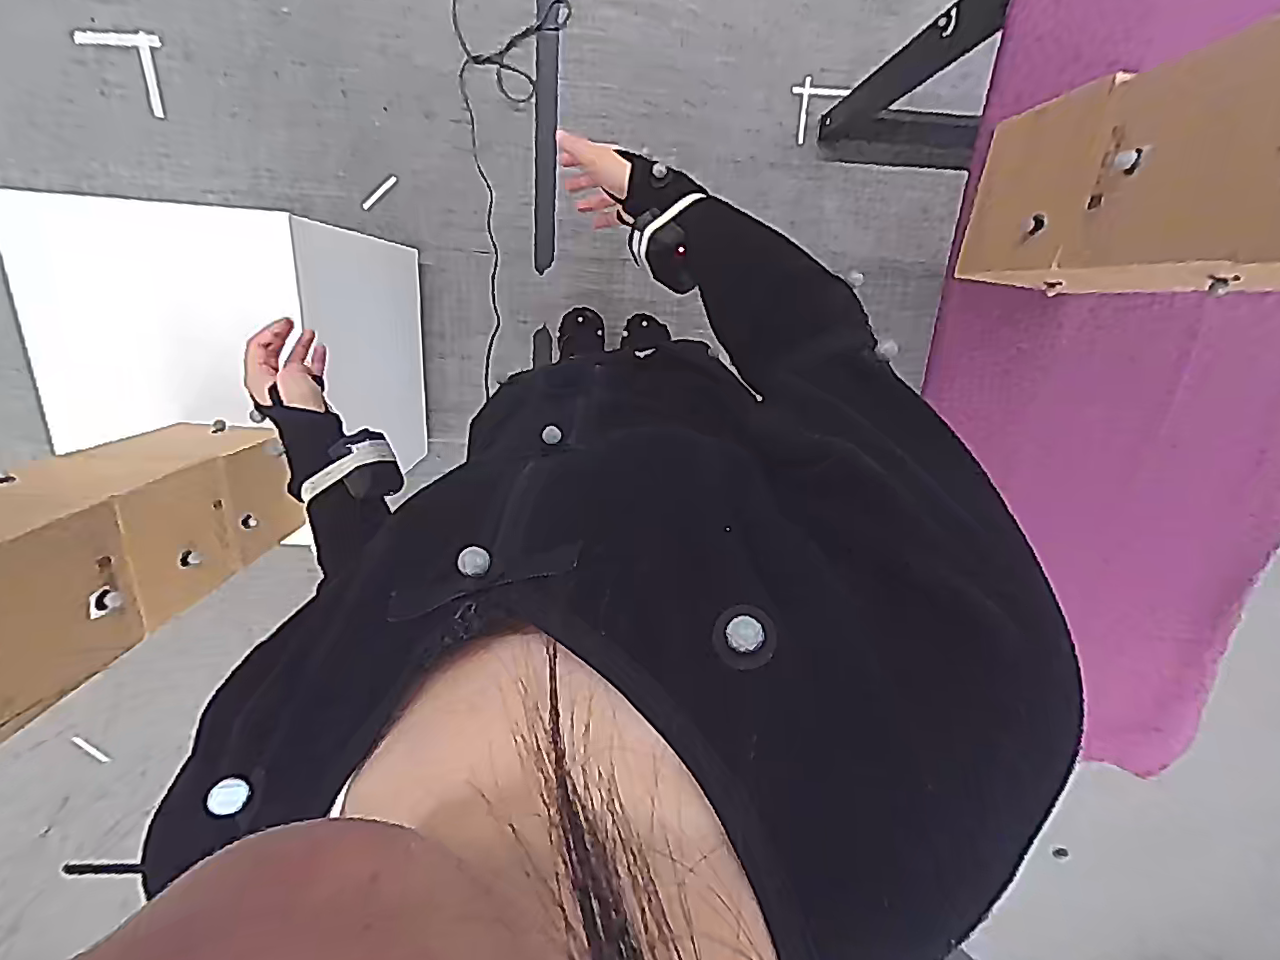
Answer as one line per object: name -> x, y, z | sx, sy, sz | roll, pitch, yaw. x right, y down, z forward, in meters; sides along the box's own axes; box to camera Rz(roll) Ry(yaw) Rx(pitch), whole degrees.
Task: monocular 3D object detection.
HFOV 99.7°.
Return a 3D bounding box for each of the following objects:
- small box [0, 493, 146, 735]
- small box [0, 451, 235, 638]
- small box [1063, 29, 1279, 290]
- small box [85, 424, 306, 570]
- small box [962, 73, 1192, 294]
small box -> -0.609, 0.115, 0.478 | 0.179, 0.176, 0.168 | 1, 109, -4
small box -> -0.616, 0.067, 0.633 | 0.179, 0.176, 0.168 | 2, 108, -4
small box -> 0.521, -0.255, 0.452 | 0.179, 0.176, 0.168 | 5, 108, -4
small box -> -0.627, 0.017, 0.789 | 0.179, 0.176, 0.168 | 3, 107, -4
small box -> 0.502, -0.310, 0.606 | 0.168, 0.176, 0.179 | 6, 107, -6
